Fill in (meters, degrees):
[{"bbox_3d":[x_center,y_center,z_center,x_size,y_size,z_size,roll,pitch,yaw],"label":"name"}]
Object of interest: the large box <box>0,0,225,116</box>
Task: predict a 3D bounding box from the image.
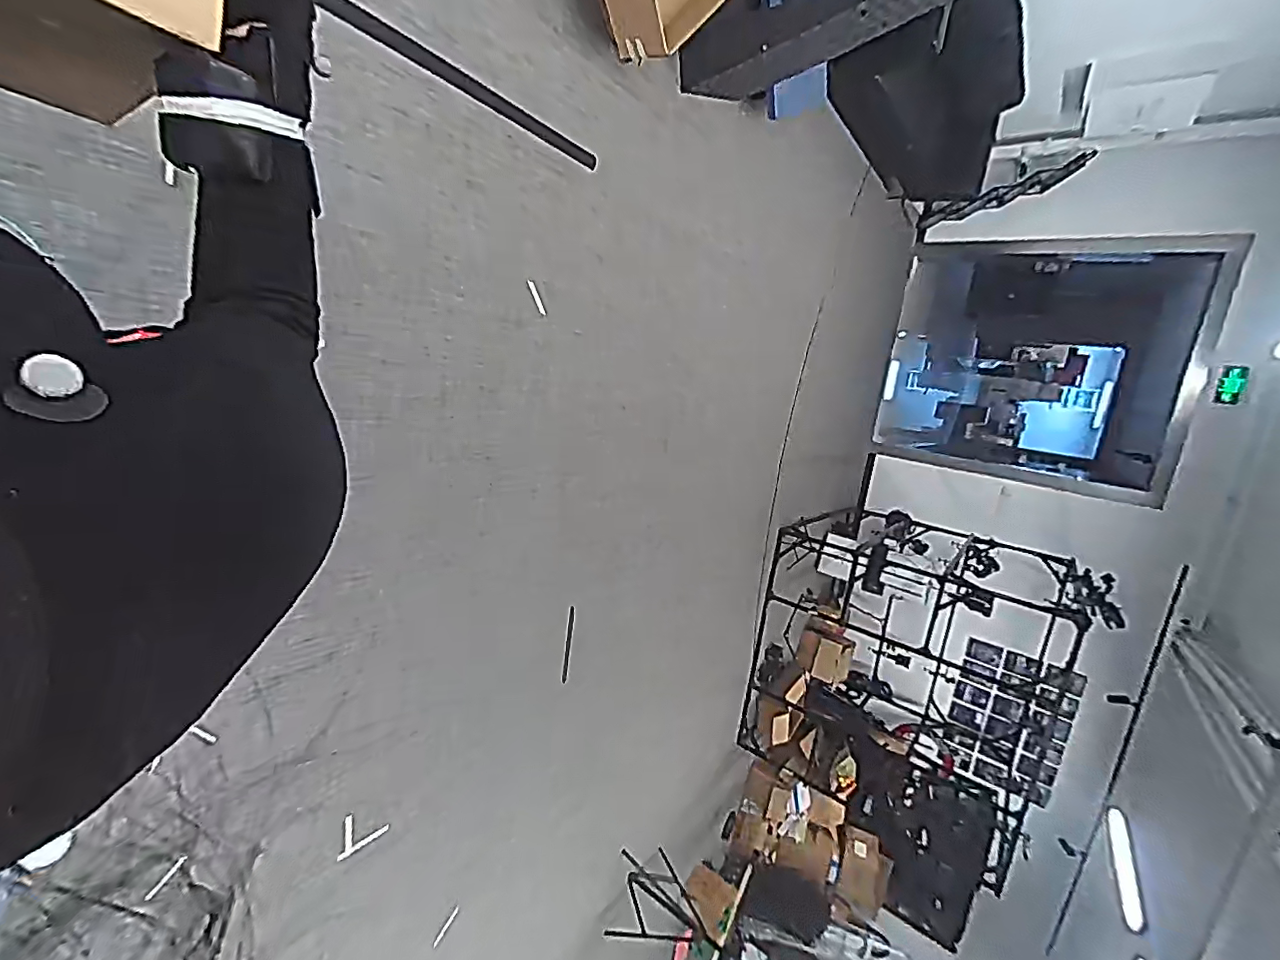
[{"bbox_3d":[-0.479,-0.443,0.244,0.408,0.320,0.320,-4,108,-54],"label":"large box"}]
